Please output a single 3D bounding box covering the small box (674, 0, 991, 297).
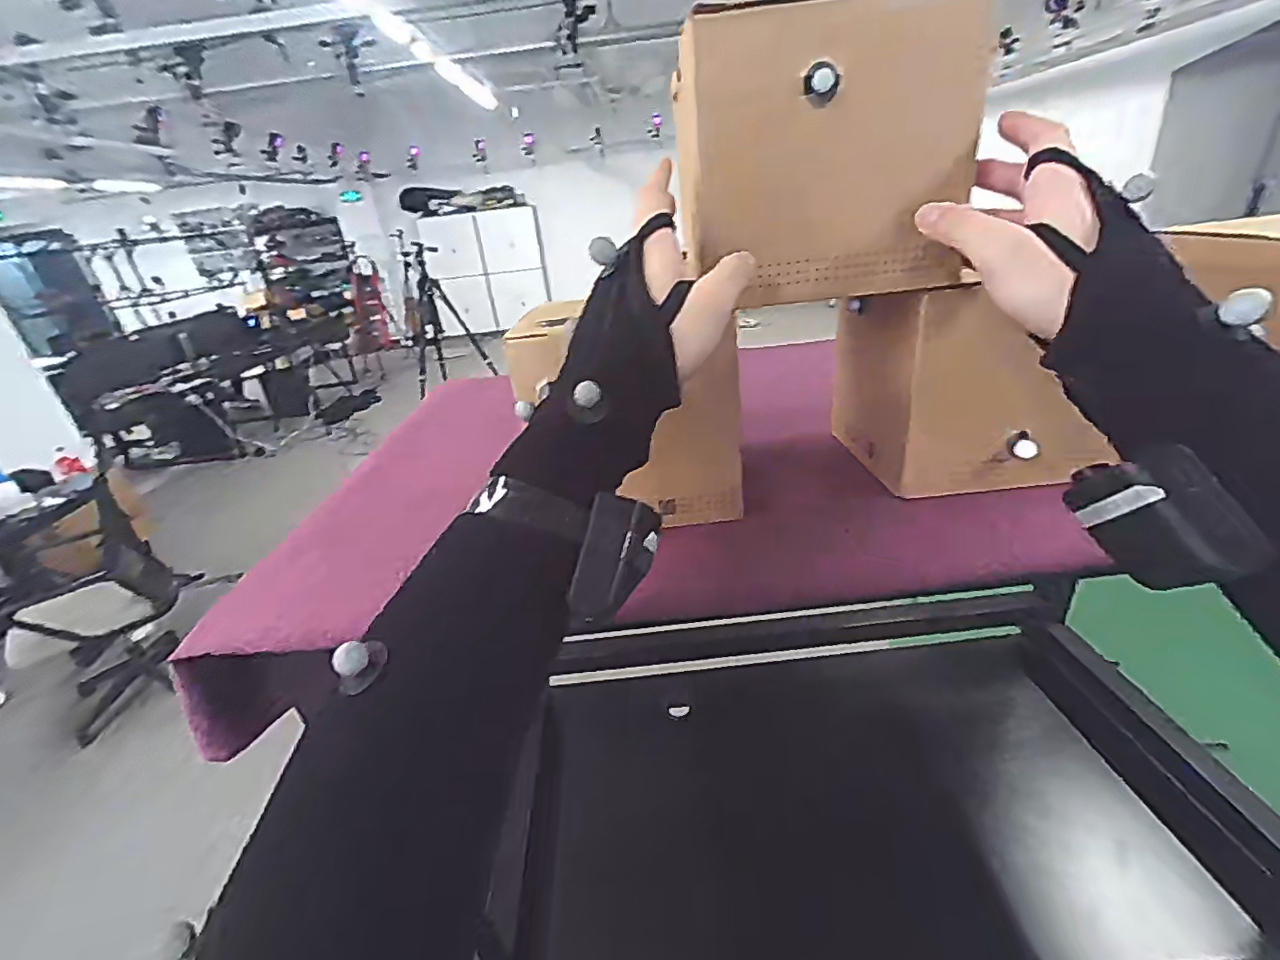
[{"bbox_3d":[0.122,-0.236,0.400,0.179,0.176,0.168,-5,26,2],"label":"small box"}]

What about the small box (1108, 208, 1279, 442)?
[{"bbox_3d":[0.563,-0.134,0.462,0.168,0.176,0.179,-4,27,5],"label":"small box"}]
